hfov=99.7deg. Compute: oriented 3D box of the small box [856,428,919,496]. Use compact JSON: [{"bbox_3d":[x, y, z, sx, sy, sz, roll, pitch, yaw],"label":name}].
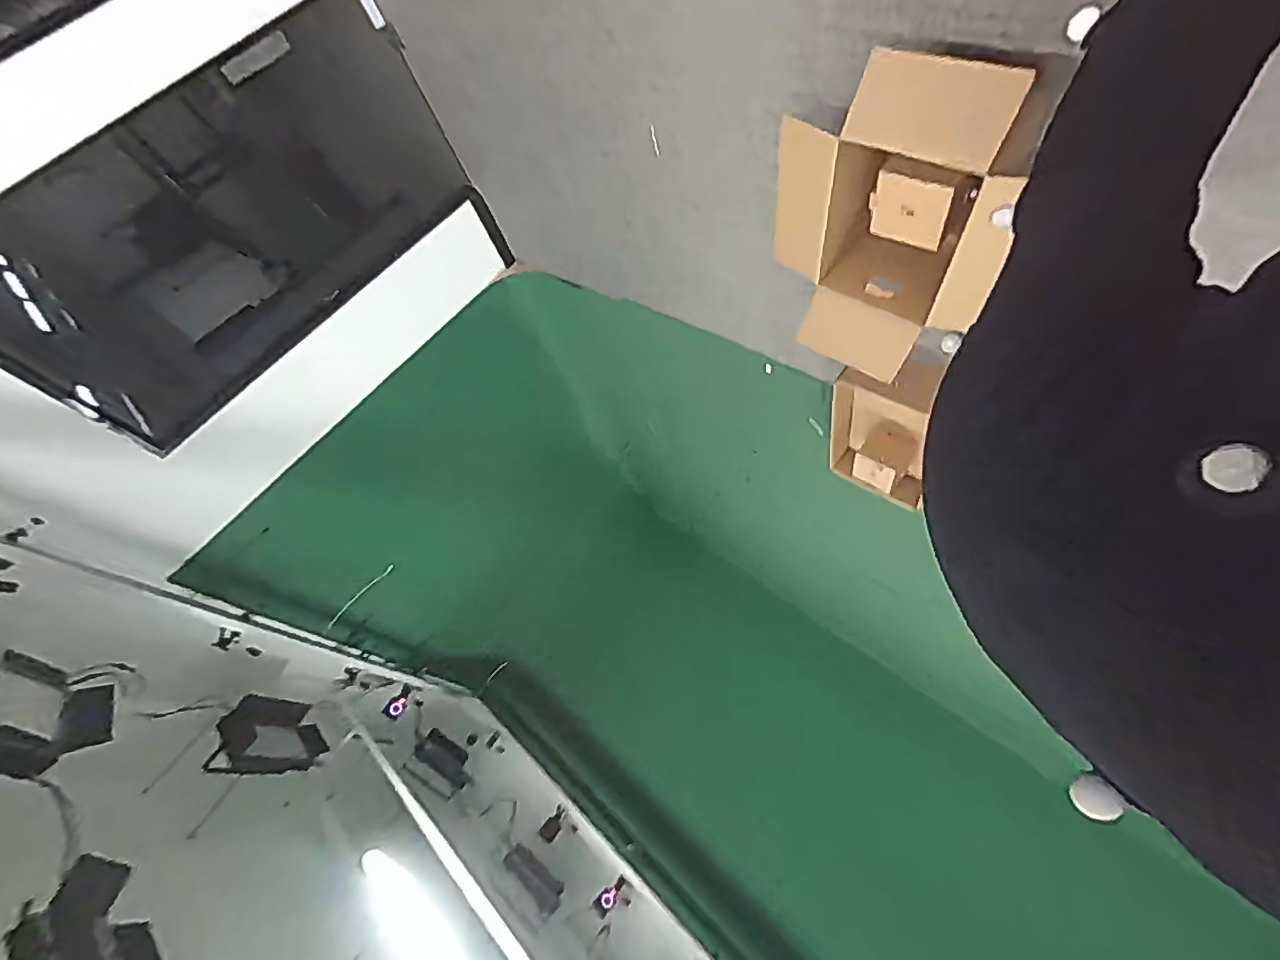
[{"bbox_3d":[0.995,-0.075,2.174,0.168,0.176,0.179,34,163,31],"label":"small box"}]
